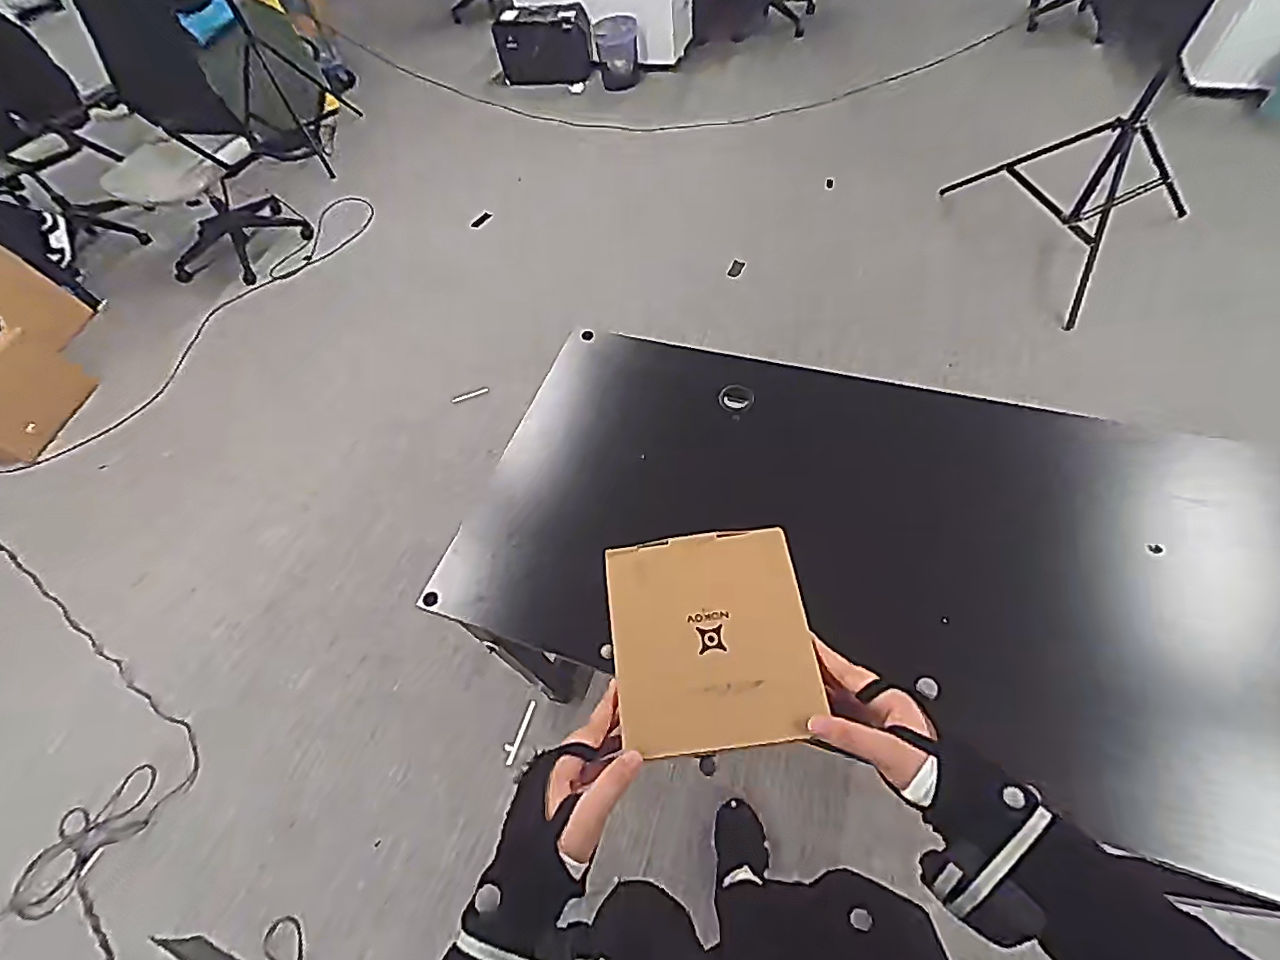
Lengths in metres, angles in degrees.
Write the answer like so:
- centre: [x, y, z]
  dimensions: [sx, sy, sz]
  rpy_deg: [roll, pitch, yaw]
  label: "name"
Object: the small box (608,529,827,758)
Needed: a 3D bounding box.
- centre: [0.062, 0.167, 0.533]
  dimensions: [0.168, 0.176, 0.179]
  rpy_deg: [-8, 62, 0]
  label: "small box"
